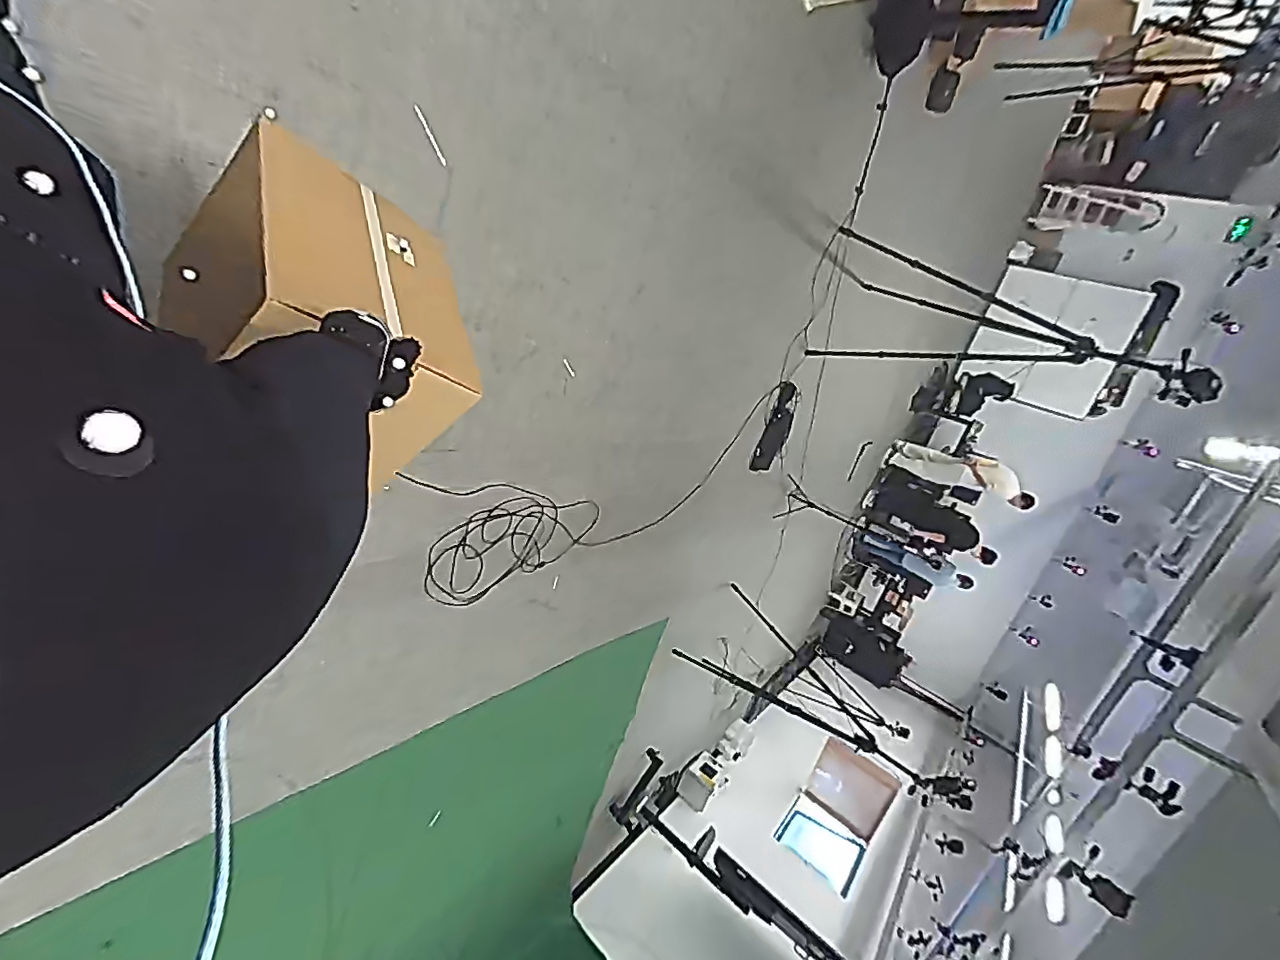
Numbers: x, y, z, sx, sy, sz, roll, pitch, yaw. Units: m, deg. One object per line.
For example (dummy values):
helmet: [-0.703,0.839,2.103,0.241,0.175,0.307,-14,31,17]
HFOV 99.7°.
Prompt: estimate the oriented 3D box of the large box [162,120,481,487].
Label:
large box: [-0.515,-0.252,0.876,0.320,0.408,0.320,-34,151,21]
